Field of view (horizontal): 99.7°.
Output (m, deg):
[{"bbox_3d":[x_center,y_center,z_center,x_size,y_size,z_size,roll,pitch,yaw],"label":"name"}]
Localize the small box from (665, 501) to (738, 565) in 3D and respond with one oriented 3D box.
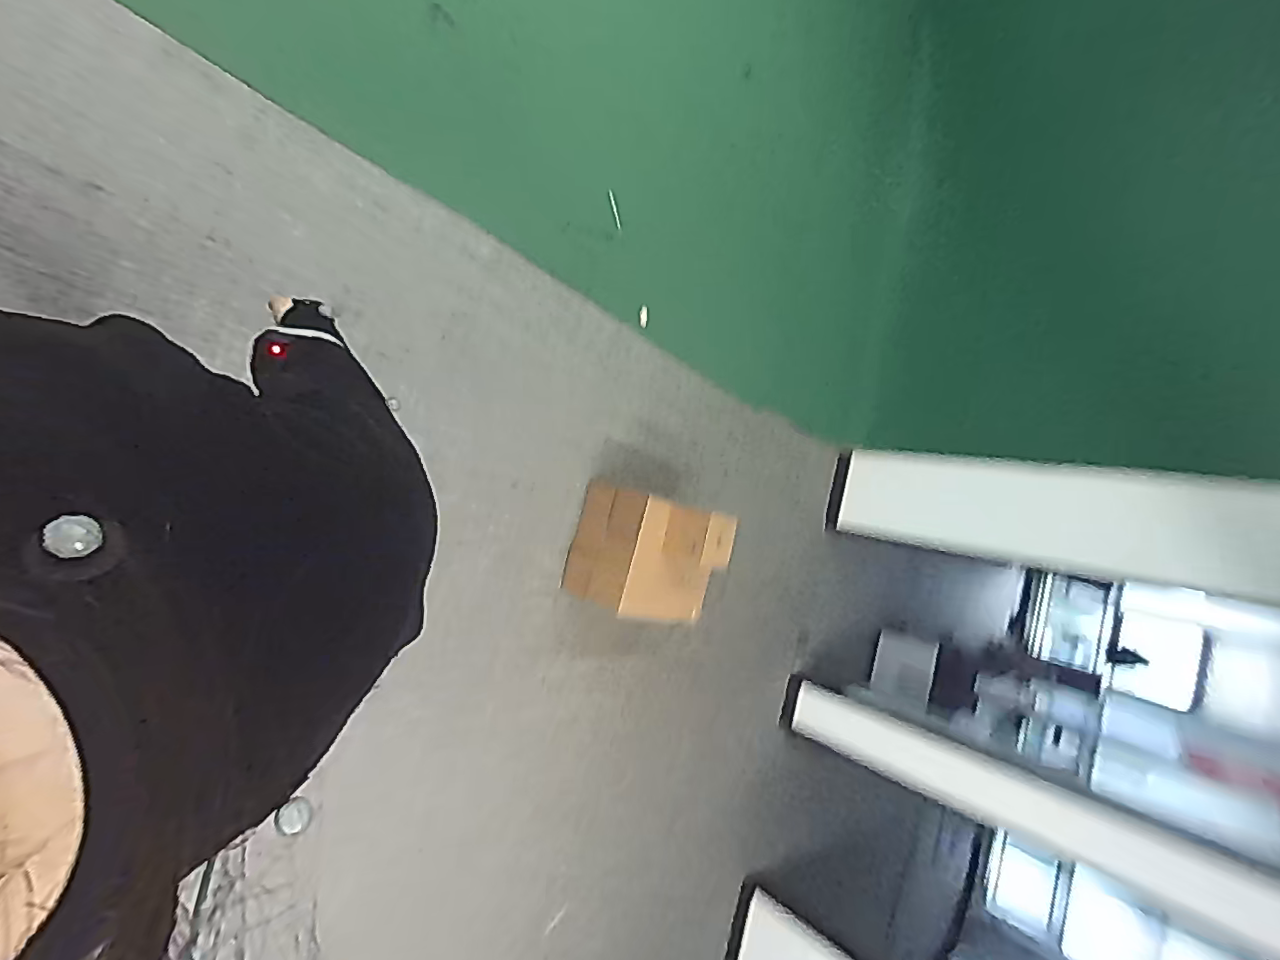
[{"bbox_3d":[0.207,0.181,1.850,0.168,0.176,0.179,17,84,-47],"label":"small box"}]
